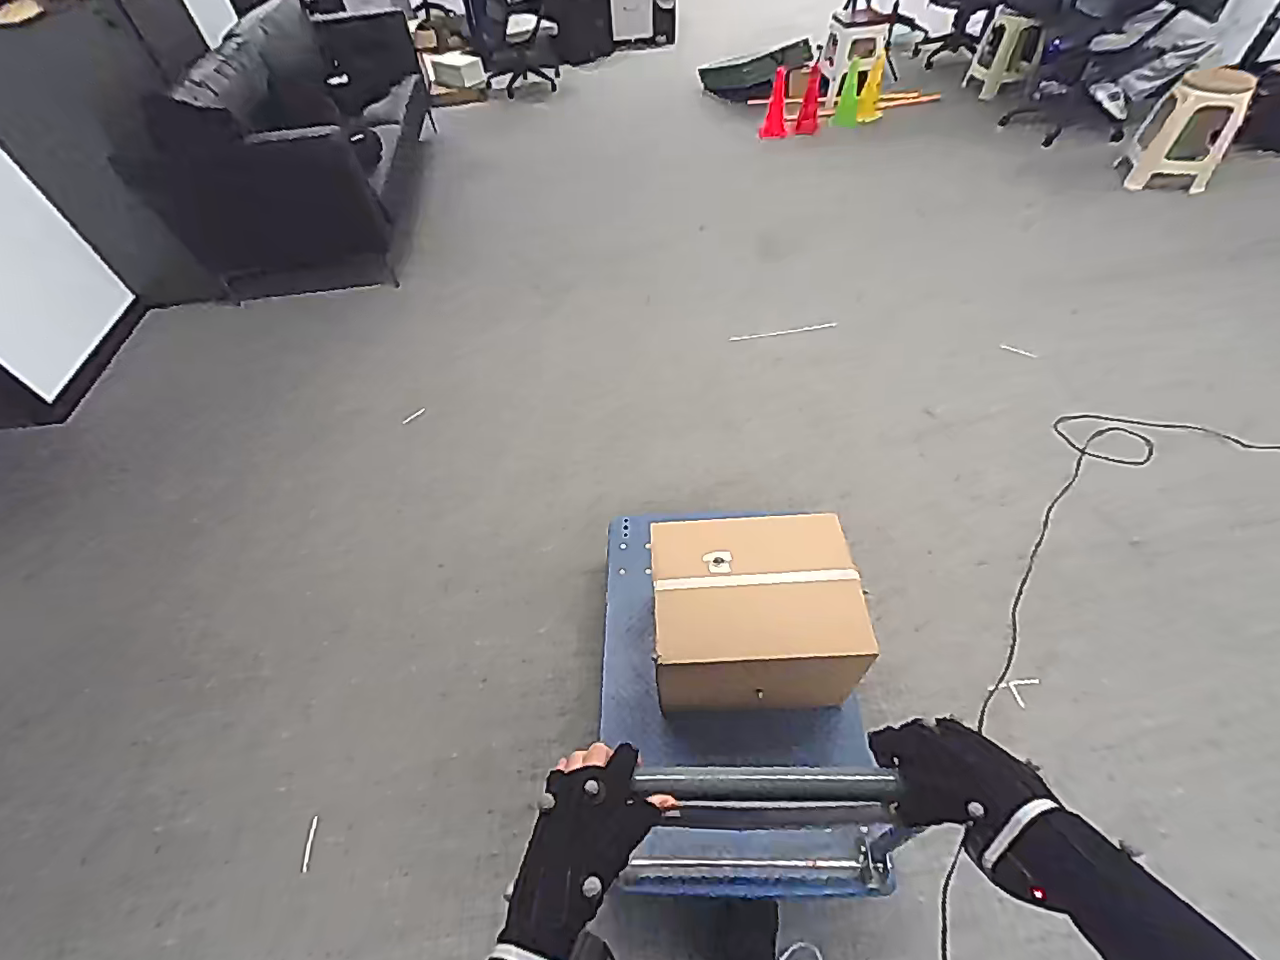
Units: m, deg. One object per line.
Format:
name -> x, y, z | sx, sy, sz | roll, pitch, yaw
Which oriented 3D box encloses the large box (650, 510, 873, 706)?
large box -> 0.241, 0.295, 1.208 | 0.408, 0.320, 0.320 | -5, 51, 2
